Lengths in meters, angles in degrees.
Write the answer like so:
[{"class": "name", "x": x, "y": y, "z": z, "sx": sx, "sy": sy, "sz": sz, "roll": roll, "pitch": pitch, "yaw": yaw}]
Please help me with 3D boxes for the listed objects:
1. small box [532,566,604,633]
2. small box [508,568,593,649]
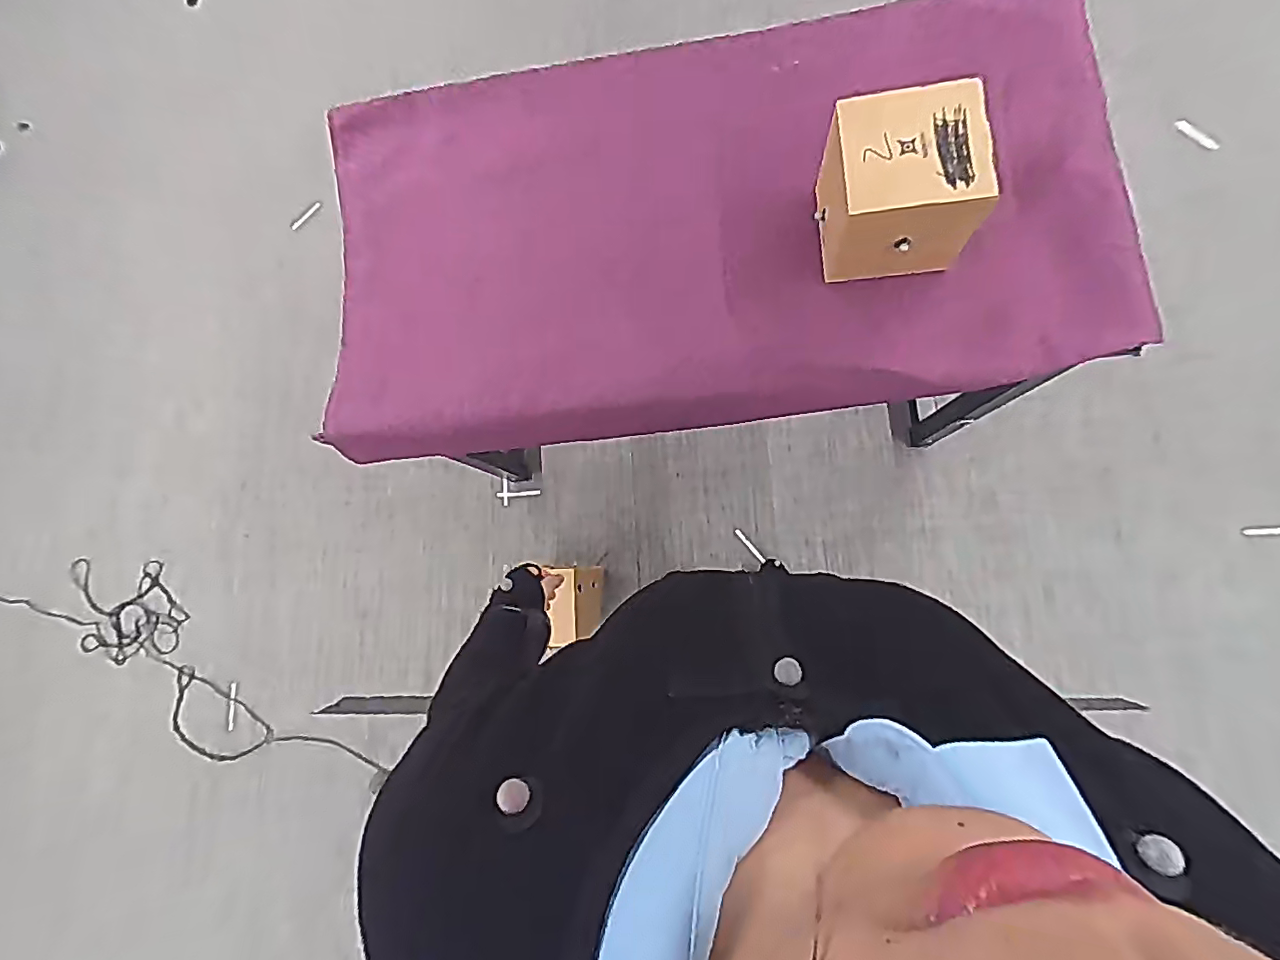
[{"class": "small box", "x": -0.195, "y": 0.326, "z": 1.466, "sx": 0.168, "sy": 0.176, "sz": 0.179, "roll": 2, "pitch": 82, "yaw": 8}, {"class": "small box", "x": -0.210, "y": 0.305, "z": 1.302, "sx": 0.168, "sy": 0.176, "sz": 0.179, "roll": -4, "pitch": 82, "yaw": 7}]
